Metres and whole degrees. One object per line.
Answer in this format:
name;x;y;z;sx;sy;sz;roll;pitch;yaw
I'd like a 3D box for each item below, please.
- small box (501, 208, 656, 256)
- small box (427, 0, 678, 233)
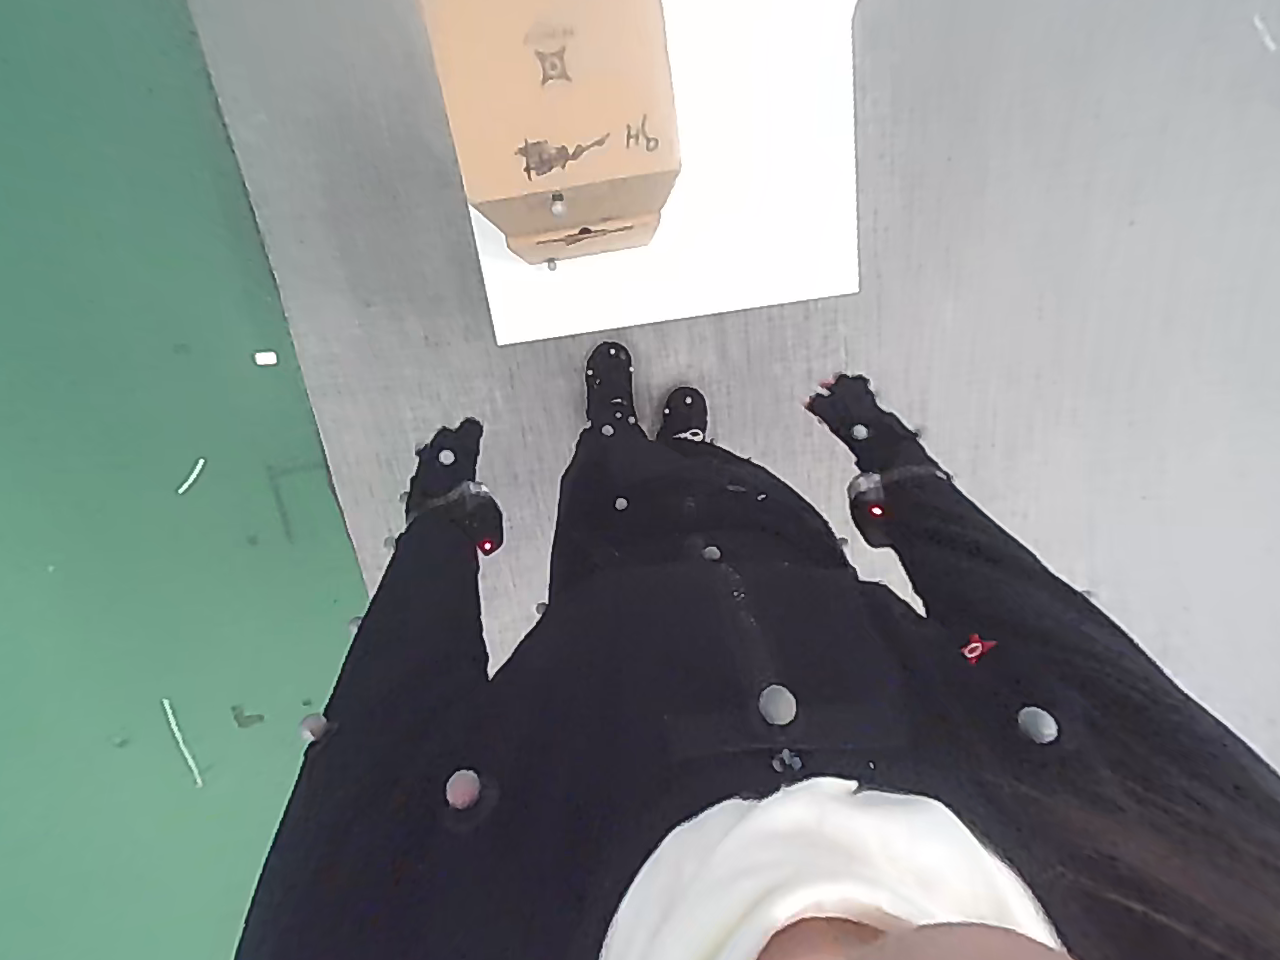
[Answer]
small box;-0.077;-0.365;0.624;0.168;0.176;0.179;-9;106;0
small box;-0.067;-0.331;0.465;0.168;0.176;0.179;-9;106;0
